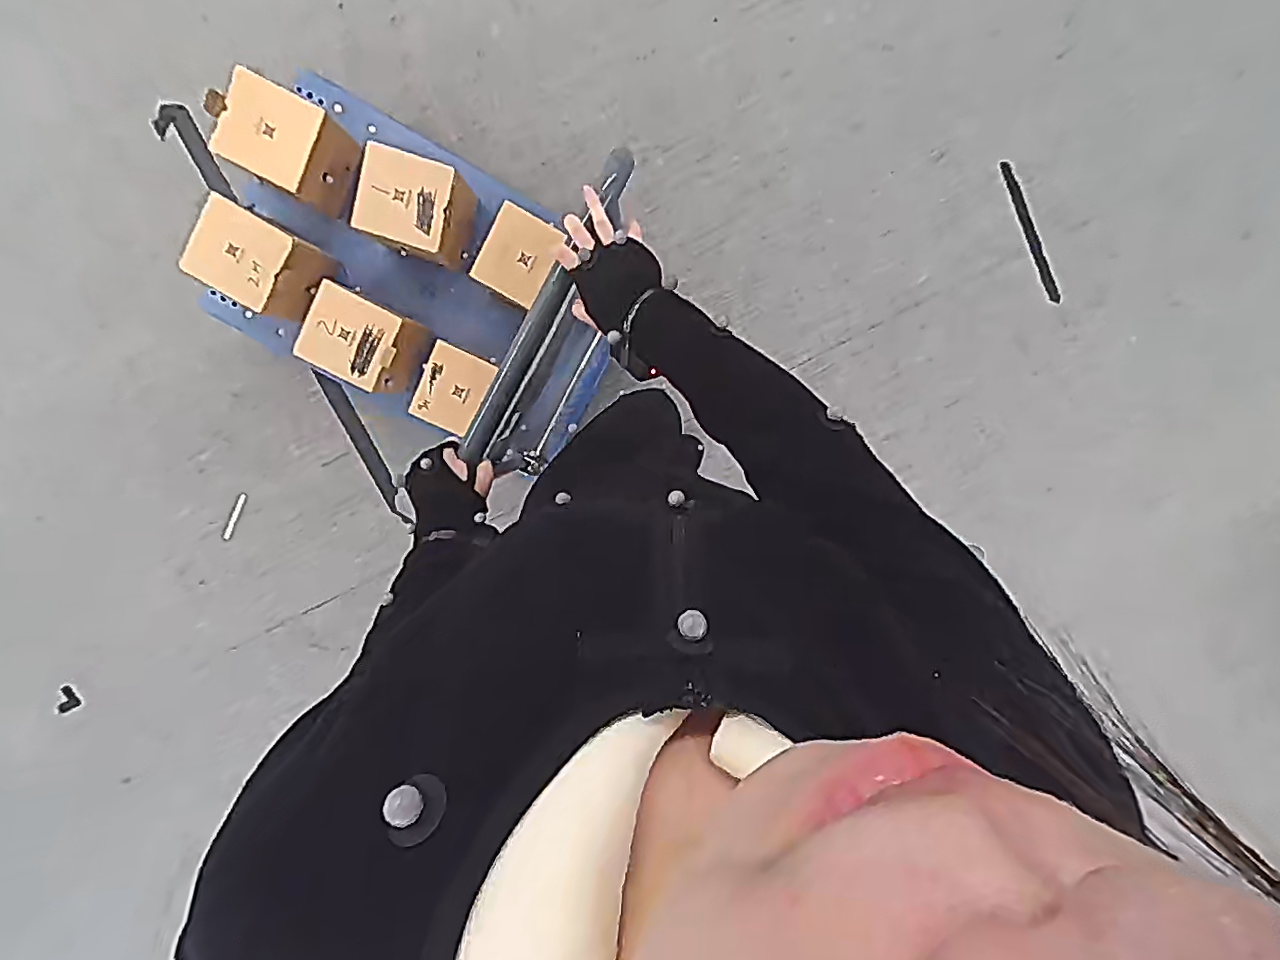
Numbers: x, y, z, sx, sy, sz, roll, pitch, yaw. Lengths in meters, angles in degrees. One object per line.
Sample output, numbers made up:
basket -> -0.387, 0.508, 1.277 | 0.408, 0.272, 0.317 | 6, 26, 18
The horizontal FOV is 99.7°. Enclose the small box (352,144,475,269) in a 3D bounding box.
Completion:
small box -> -0.461, -0.557, 1.128 | 0.179, 0.176, 0.168 | 16, 98, -4

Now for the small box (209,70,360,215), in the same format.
small box -> -0.709, -0.668, 1.099 | 0.179, 0.176, 0.168 | 25, 98, -6

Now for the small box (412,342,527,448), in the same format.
small box -> -0.364, -0.187, 1.191 | 0.179, 0.176, 0.168 | 24, 96, -6

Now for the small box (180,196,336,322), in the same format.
small box -> -0.786, -0.447, 1.130 | 0.179, 0.176, 0.168 | 29, 97, -7

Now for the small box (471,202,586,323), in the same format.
small box -> -0.228, -0.451, 1.156 | 0.179, 0.176, 0.168 | 28, 97, -6
